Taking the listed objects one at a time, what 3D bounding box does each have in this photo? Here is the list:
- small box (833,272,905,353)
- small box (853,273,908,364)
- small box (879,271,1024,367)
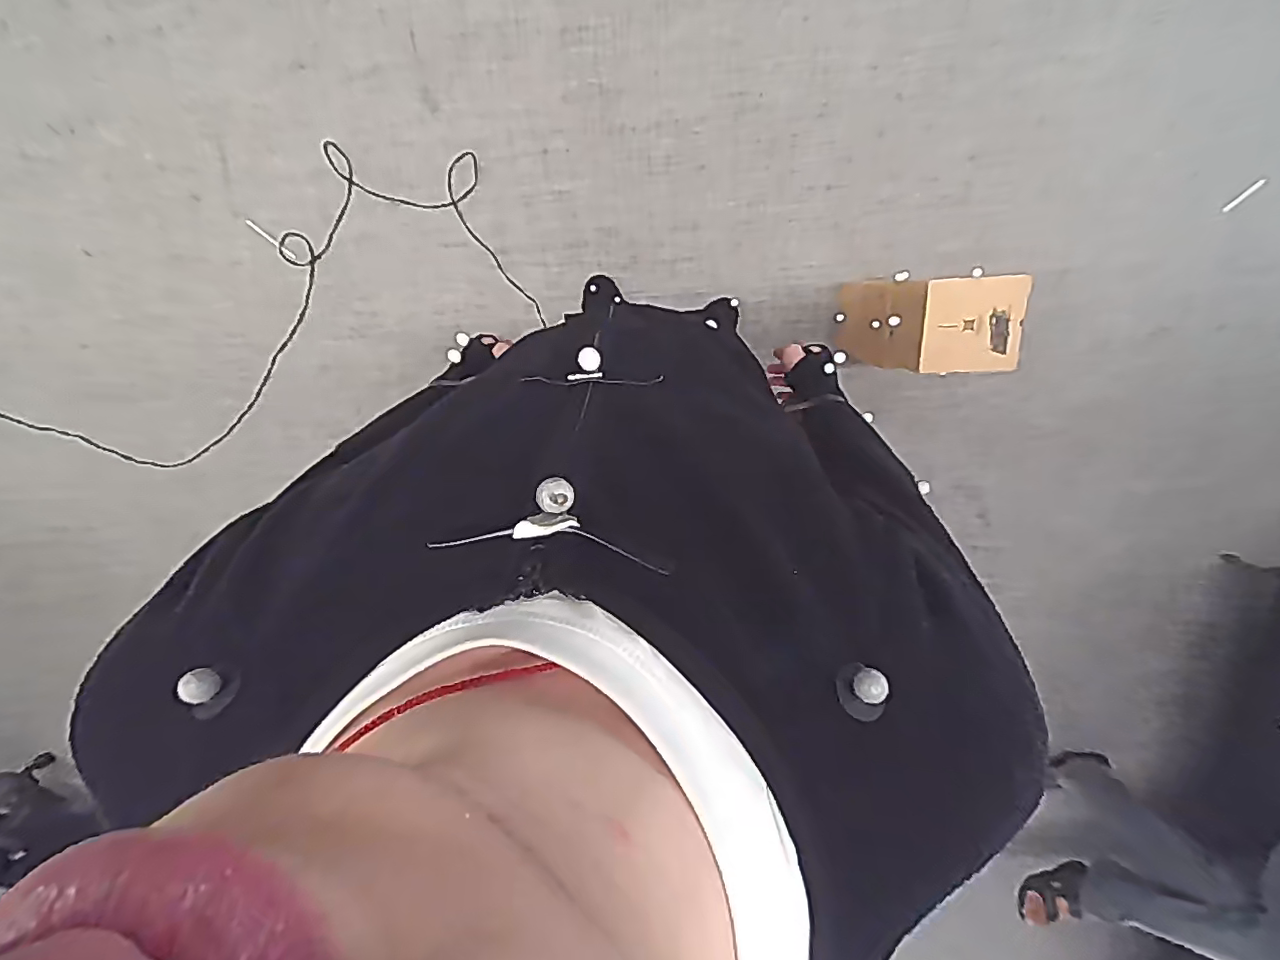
[{"bbox_3d":[0.593,-0.423,1.354,0.168,0.176,0.179,-2,112,2],"label":"small box"},{"bbox_3d":[0.588,-0.365,1.204,0.168,0.176,0.179,-3,113,4],"label":"small box"},{"bbox_3d":[0.588,-0.315,1.045,0.179,0.176,0.168,-1,110,4],"label":"small box"}]
